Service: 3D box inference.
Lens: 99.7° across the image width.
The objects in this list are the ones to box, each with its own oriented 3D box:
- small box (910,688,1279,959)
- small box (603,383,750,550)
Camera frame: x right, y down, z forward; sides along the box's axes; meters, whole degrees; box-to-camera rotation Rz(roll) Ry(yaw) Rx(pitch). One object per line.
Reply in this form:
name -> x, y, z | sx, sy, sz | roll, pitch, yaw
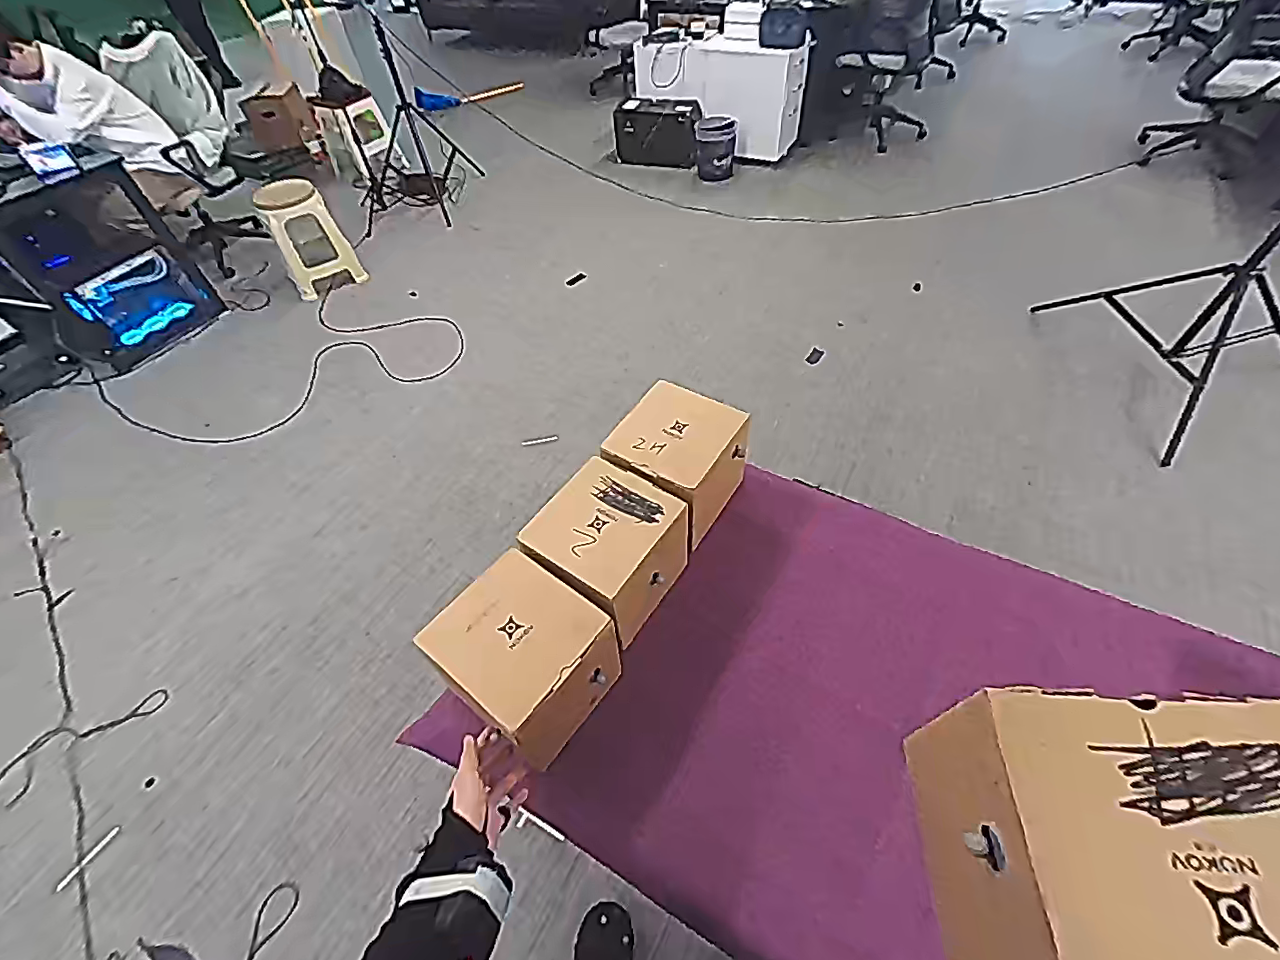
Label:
small box -> 0.282, 0.238, 0.321 | 0.168, 0.176, 0.179 | -1, 55, 8
small box -> 0.061, -0.021, 0.883 | 0.168, 0.176, 0.179 | 25, 57, 23
